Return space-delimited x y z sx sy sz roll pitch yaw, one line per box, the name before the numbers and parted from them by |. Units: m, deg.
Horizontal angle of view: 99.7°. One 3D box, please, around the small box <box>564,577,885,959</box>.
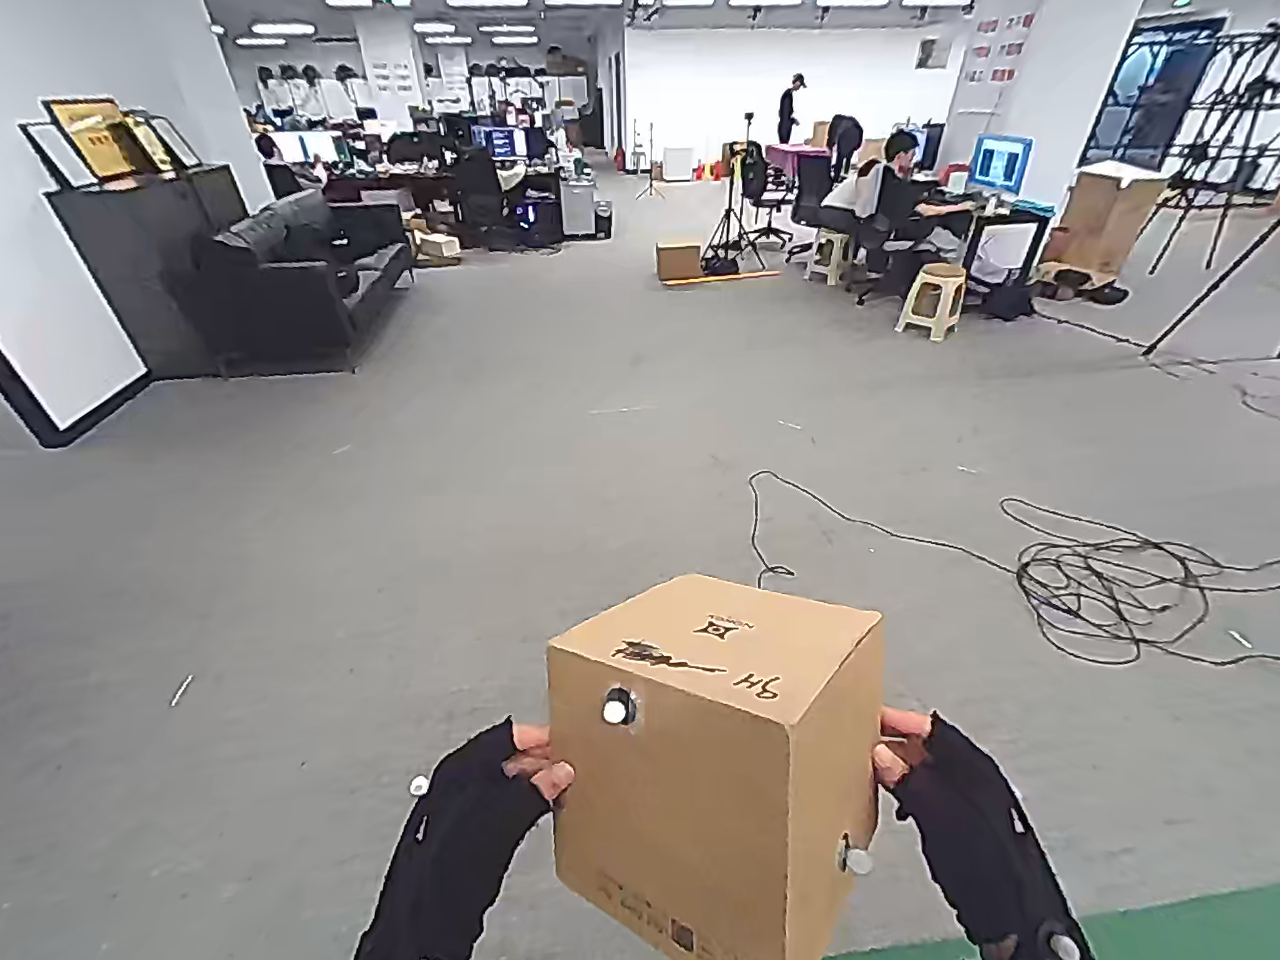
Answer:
small box | 0.062 0.182 0.382 0.168 0.176 0.179 4 8 37
